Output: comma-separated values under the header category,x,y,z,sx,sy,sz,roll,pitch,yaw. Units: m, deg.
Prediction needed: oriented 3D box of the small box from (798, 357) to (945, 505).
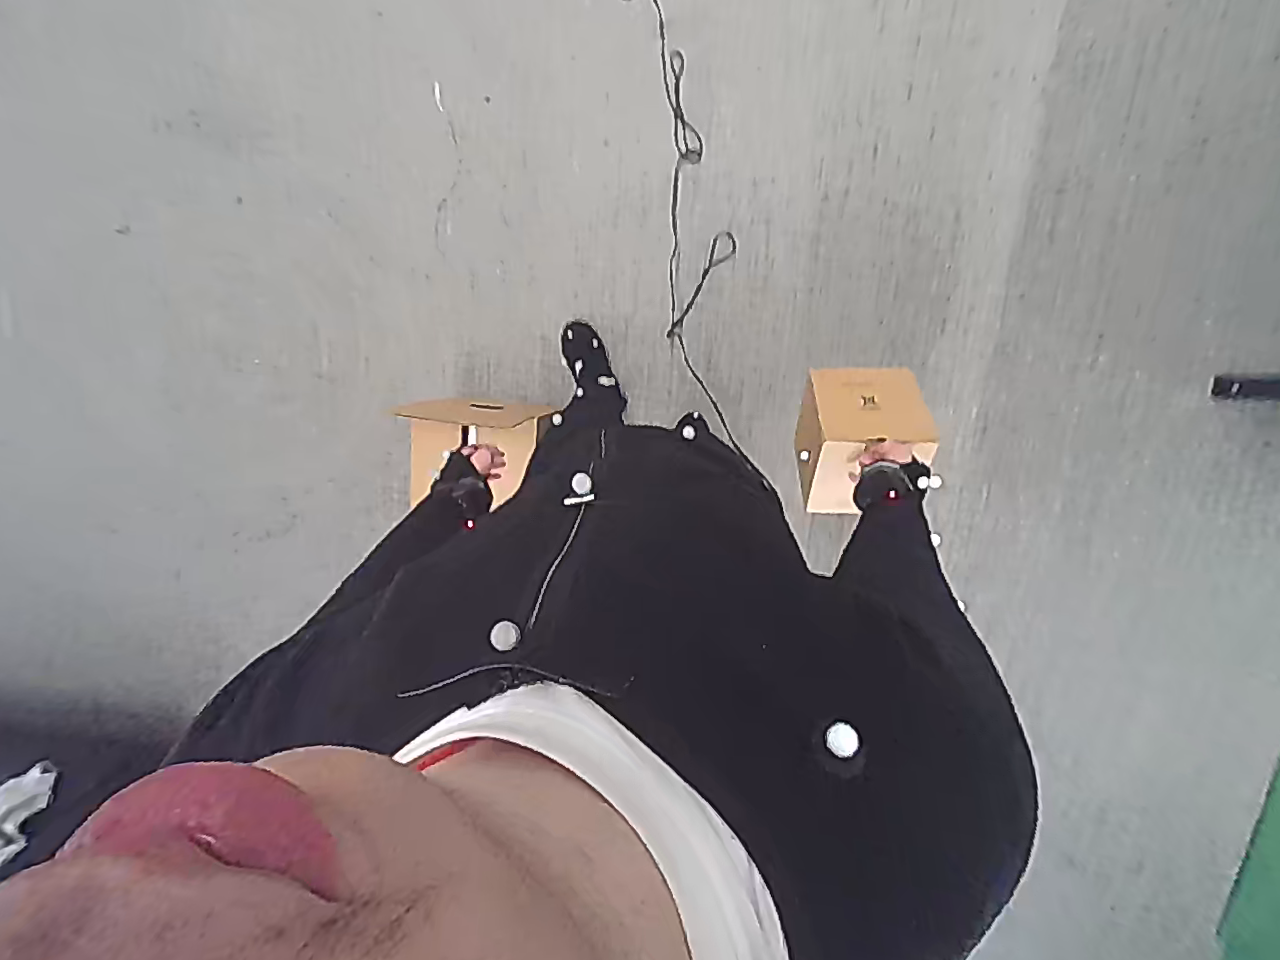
category,x,y,z,sx,sy,sz,roll,pitch,yaw
small box,0.358,-0.077,0.876,0.168,0.179,0.176,4,138,5
